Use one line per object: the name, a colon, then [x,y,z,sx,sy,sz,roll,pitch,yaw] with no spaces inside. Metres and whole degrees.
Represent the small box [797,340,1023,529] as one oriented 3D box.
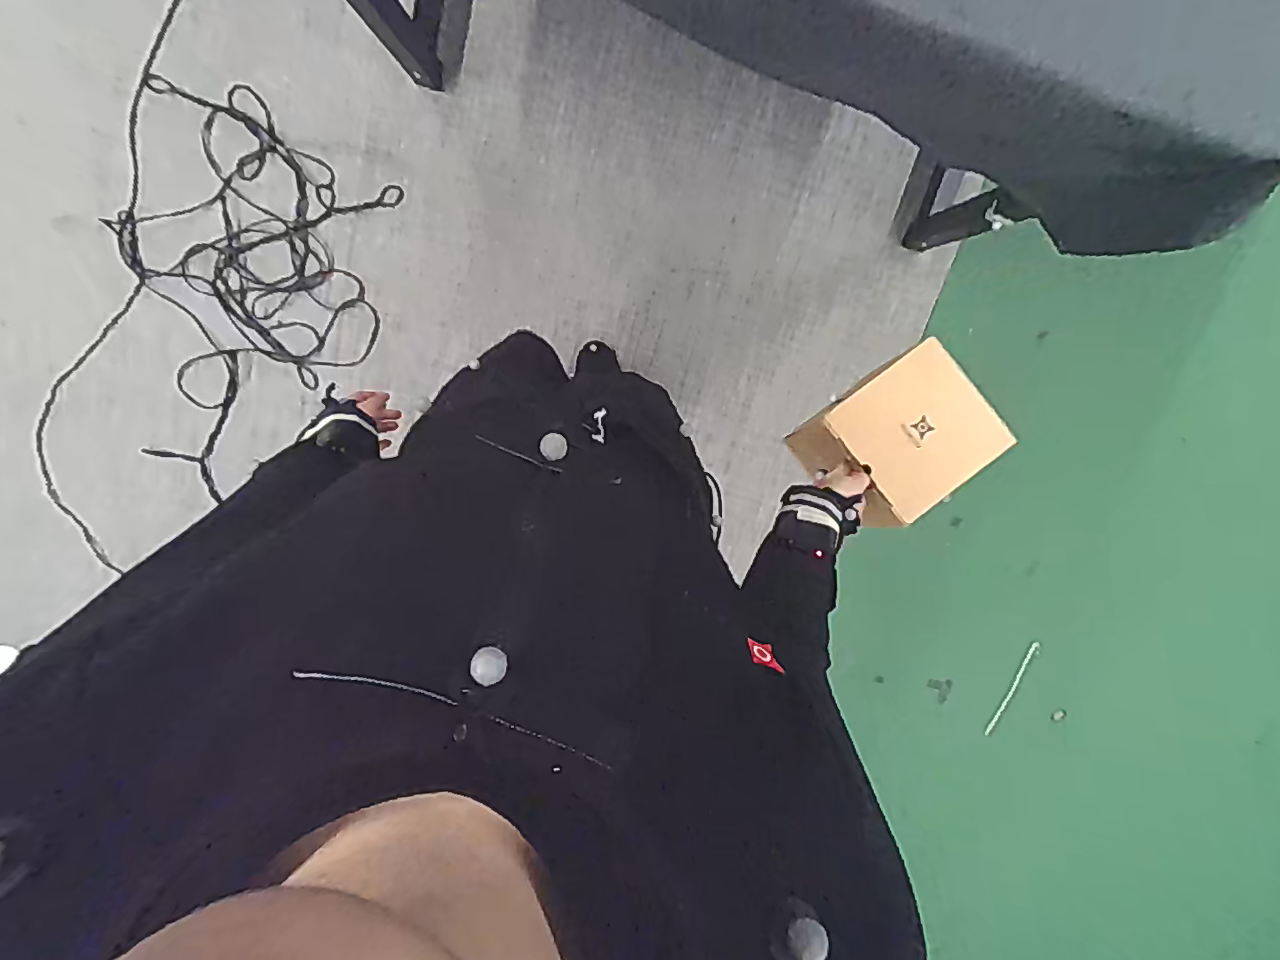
small box: [0.341,-0.051,0.722,0.179,0.176,0.168,-36,86,-1]
